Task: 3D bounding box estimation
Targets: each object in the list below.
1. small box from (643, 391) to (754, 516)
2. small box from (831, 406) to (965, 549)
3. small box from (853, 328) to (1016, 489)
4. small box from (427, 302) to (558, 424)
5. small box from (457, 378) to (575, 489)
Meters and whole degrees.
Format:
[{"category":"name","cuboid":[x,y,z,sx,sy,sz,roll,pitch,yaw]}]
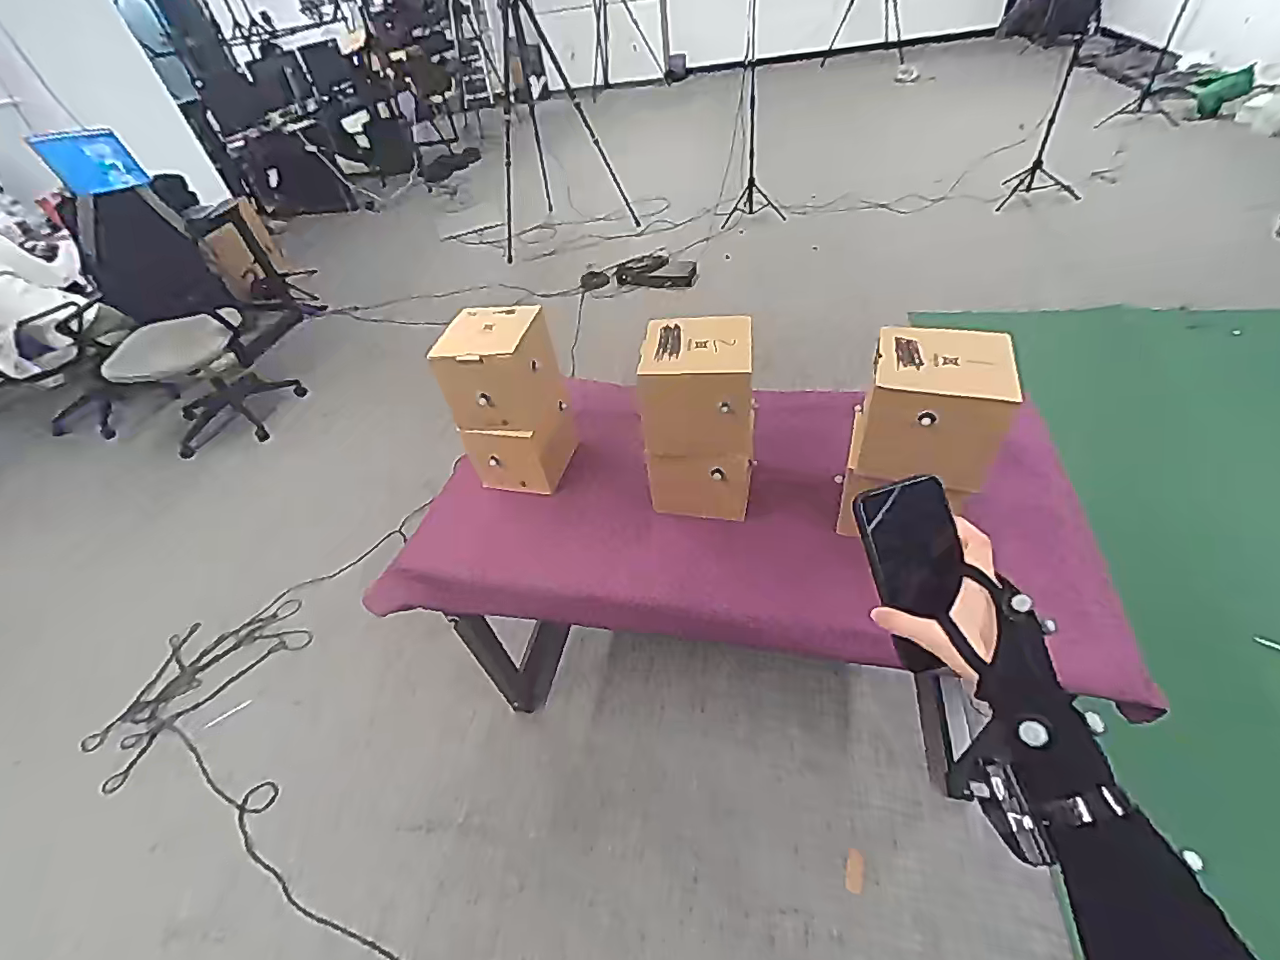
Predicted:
[{"category":"small box","cuboid":[0.118,-0.048,1.031,0.179,0.176,0.168,6,47,16]},{"category":"small box","cuboid":[0.441,-0.003,0.933,0.179,0.176,0.168,10,48,20]},{"category":"small box","cuboid":[0.425,-0.106,0.806,0.179,0.176,0.168,11,48,19]},{"category":"small box","cuboid":[-0.269,-0.222,1.040,0.168,0.176,0.179,3,47,12]},{"category":"small box","cuboid":[-0.251,-0.101,1.150,0.168,0.176,0.179,6,47,16]}]
